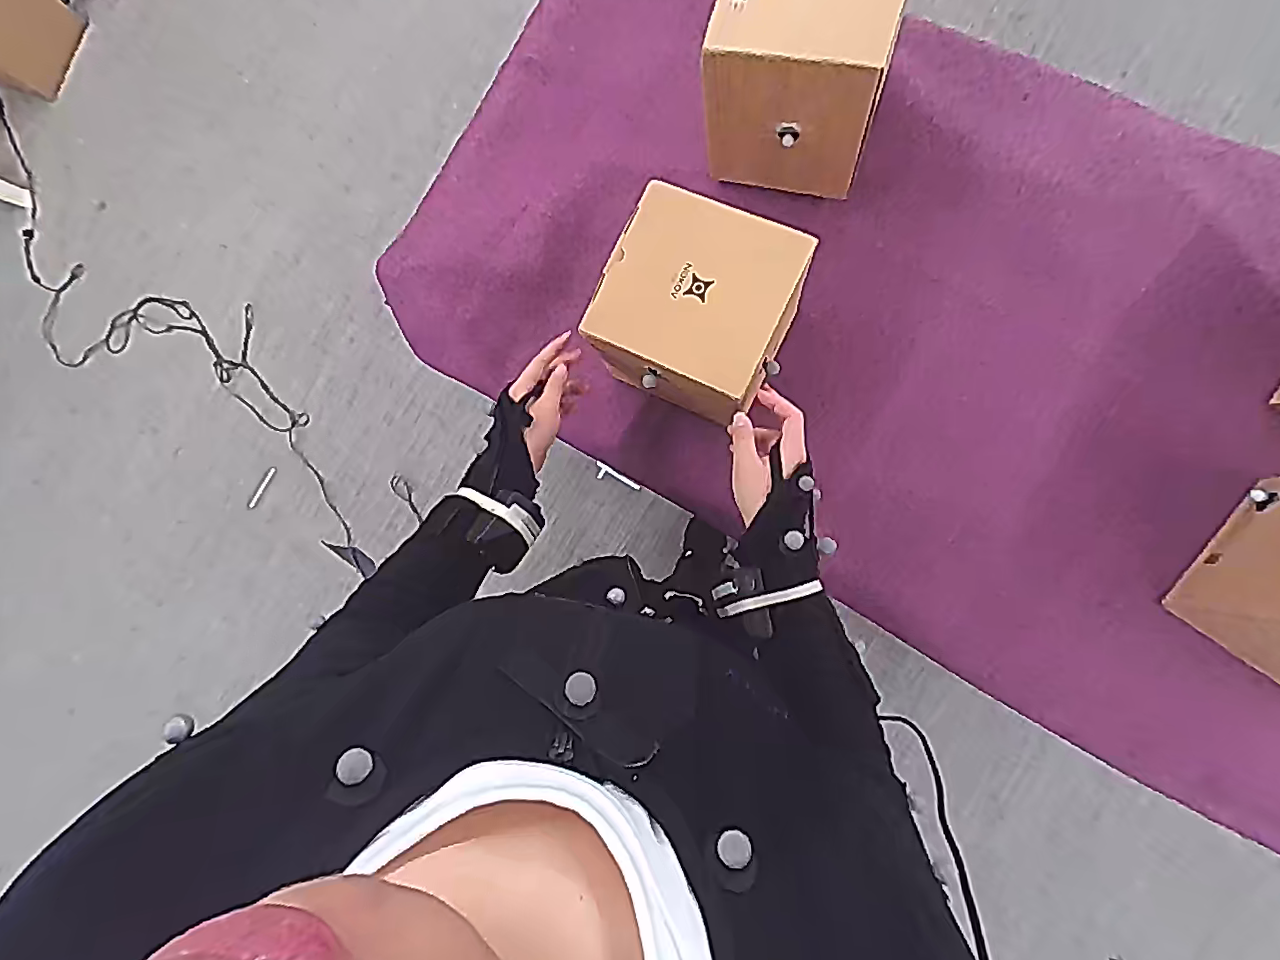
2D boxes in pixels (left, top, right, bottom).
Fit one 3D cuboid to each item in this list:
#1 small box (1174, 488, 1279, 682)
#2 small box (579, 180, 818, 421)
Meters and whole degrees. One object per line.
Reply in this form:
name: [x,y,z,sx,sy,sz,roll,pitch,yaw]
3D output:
small box: [0.633,0.105,0.455,0.179,0.176,0.168,37,91,11]
small box: [0.066,-0.175,0.583,0.179,0.176,0.168,26,90,12]
